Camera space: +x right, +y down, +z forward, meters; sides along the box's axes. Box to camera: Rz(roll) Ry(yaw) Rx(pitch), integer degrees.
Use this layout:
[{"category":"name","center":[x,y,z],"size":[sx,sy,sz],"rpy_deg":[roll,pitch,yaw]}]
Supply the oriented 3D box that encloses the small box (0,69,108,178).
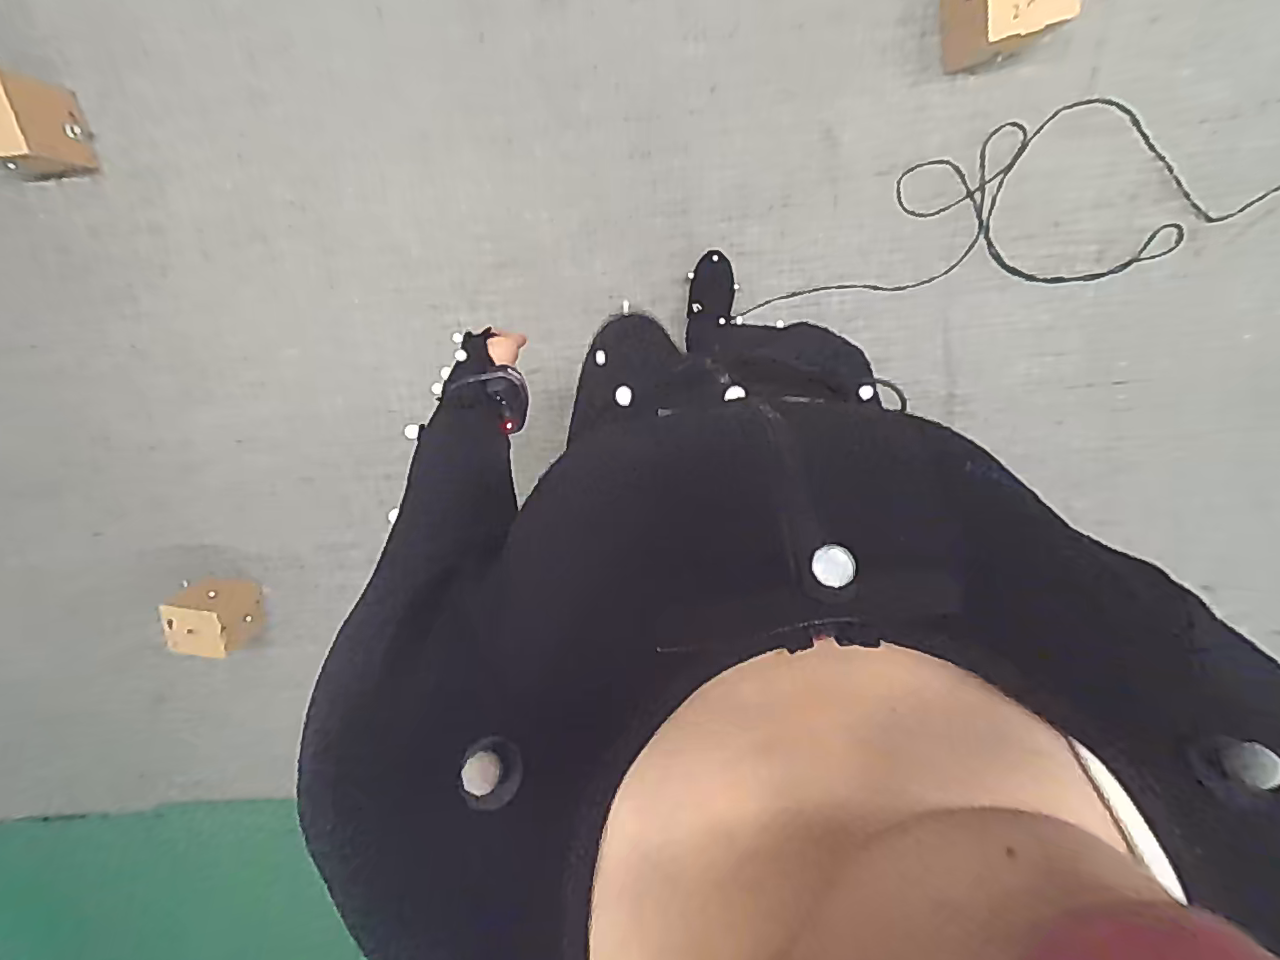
[{"category":"small box","center":[-1.381,-0.791,1.216],"size":[0.179,0.176,0.168],"rpy_deg":[-4,110,3]}]

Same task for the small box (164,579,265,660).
[{"category":"small box","center":[-1.273,0.416,1.639],"size":[0.179,0.176,0.168],"rpy_deg":[7,110,0]}]

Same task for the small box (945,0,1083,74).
[{"category":"small box","center":[0.717,-0.938,1.049],"size":[0.168,0.176,0.179],"rpy_deg":[-12,110,7]}]
